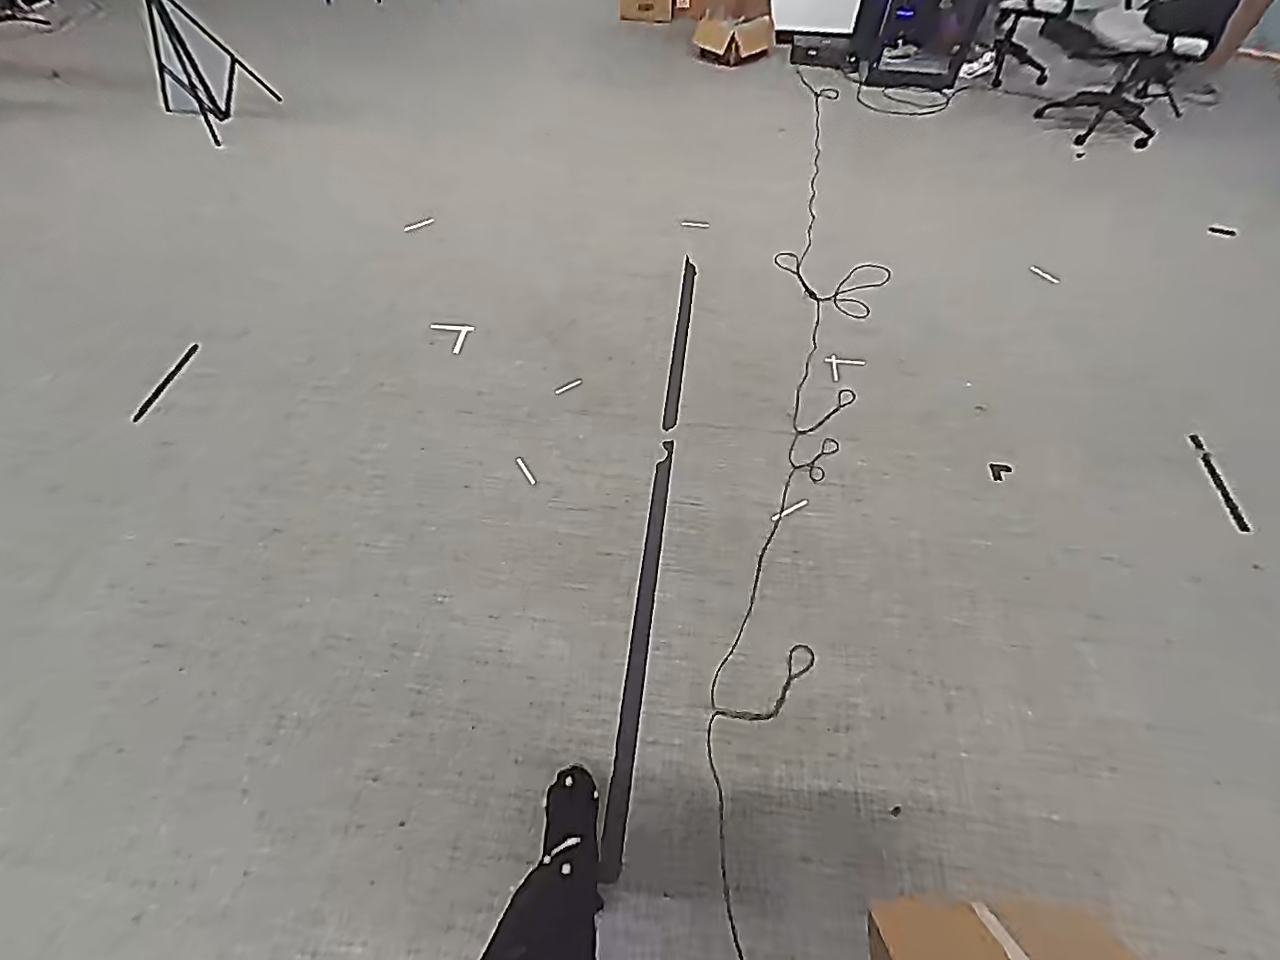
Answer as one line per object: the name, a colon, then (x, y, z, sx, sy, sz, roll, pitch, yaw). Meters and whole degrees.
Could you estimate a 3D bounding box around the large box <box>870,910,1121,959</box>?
large box: (0.469, 0.762, 0.575, 0.320, 0.408, 0.320, -1, 81, 7)
